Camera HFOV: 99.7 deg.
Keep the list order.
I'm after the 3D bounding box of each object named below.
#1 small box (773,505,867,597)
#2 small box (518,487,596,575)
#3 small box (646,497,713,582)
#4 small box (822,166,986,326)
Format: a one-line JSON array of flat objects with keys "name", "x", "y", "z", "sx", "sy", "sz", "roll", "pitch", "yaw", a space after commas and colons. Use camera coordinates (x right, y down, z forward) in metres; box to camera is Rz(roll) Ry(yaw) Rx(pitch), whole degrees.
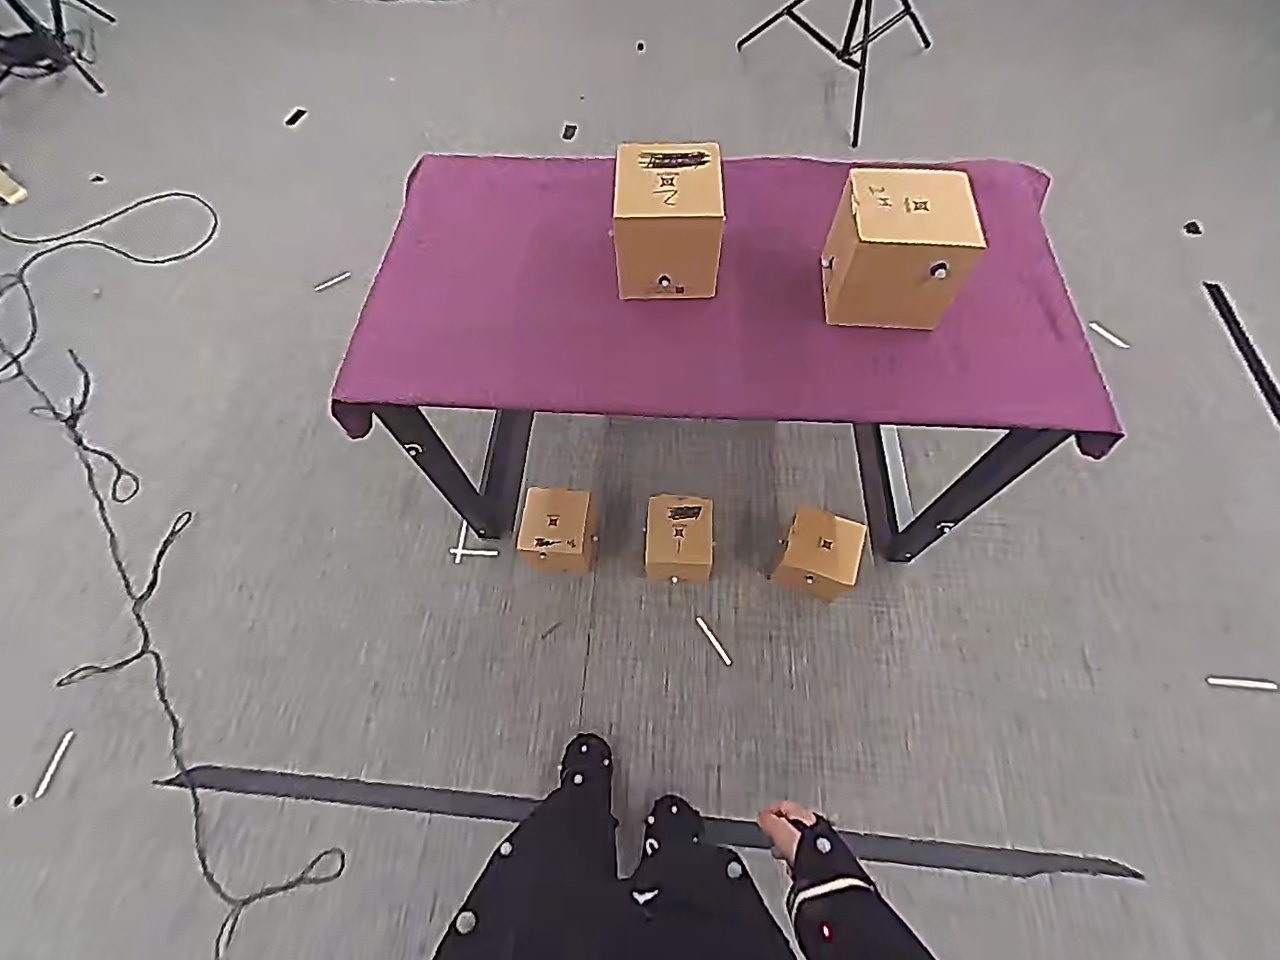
[{"name": "small box", "x": 0.458, "y": 0.190, "z": 1.396, "sx": 0.179, "sy": 0.176, "sz": 0.168, "roll": 18, "pitch": 66, "yaw": 12}, {"name": "small box", "x": -0.212, "y": 0.138, "z": 1.446, "sx": 0.168, "sy": 0.176, "sz": 0.179, "roll": 4, "pitch": 62, "yaw": 4}, {"name": "small box", "x": 0.103, "y": 0.159, "z": 1.423, "sx": 0.168, "sy": 0.176, "sz": 0.179, "roll": 2, "pitch": 64, "yaw": 3}, {"name": "small box", "x": 0.403, "y": -0.364, "z": 0.857, "sx": 0.179, "sy": 0.176, "sz": 0.168, "roll": 4, "pitch": 63, "yaw": 5}]
